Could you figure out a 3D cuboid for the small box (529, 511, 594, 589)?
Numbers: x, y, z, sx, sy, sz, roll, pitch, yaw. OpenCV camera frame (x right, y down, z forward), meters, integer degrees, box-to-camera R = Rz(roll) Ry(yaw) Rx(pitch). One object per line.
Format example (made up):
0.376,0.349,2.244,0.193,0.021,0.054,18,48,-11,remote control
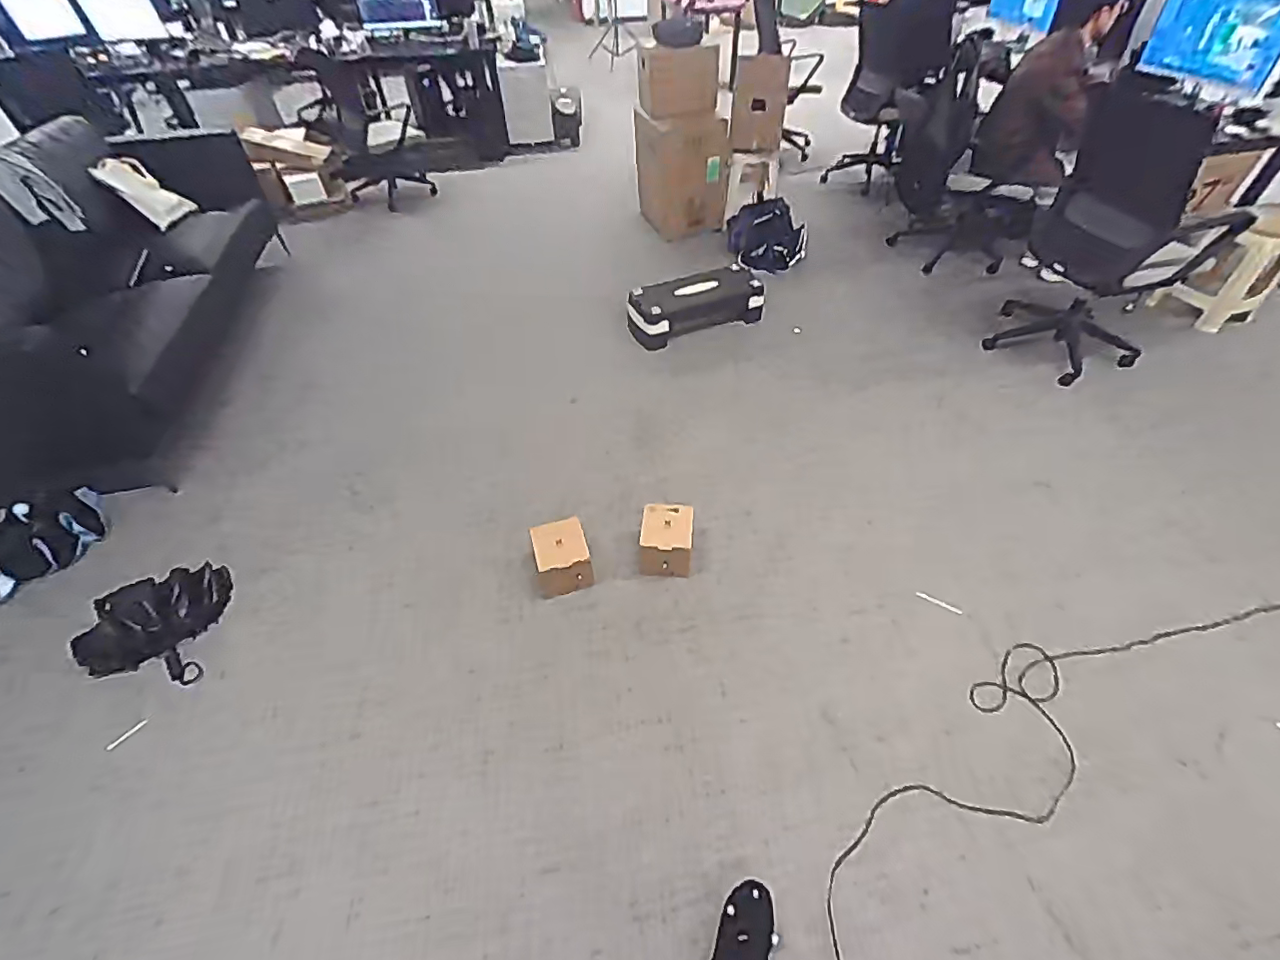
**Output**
-0.254,0.236,1.769,0.168,0.176,0.179,-15,48,-12,small box

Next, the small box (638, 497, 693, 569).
0.090,0.179,1.798,0.168,0.176,0.179,3,49,6,small box
